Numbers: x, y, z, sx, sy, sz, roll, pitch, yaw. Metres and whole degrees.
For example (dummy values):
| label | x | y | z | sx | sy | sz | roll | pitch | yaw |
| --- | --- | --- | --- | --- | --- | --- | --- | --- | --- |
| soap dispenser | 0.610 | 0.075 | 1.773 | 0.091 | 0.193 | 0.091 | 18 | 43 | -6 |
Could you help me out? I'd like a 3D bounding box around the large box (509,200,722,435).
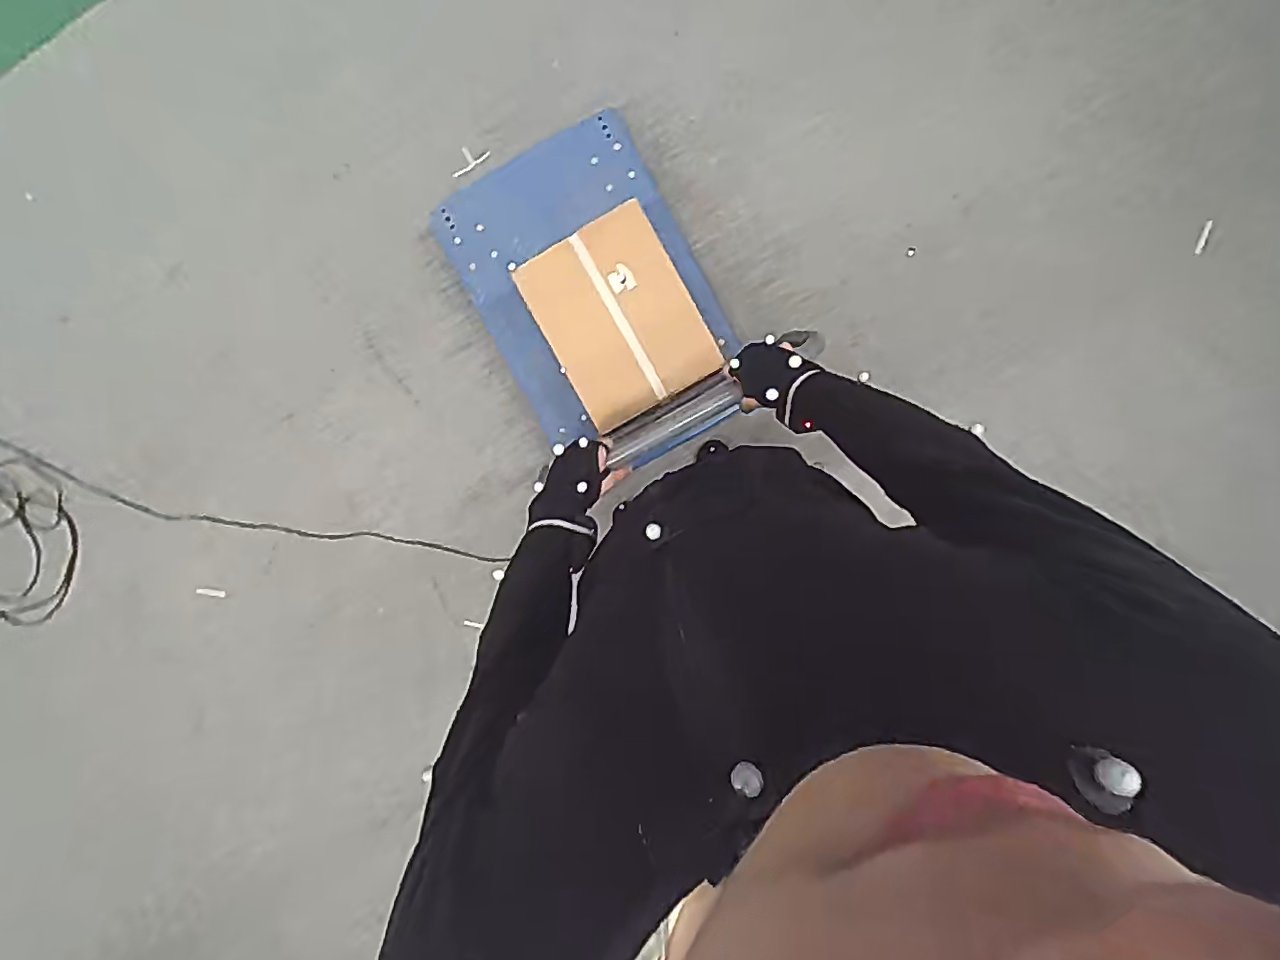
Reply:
| label | x | y | z | sx | sy | sz | roll | pitch | yaw |
| --- | --- | --- | --- | --- | --- | --- | --- | --- | --- |
| large box | -0.045 | -0.355 | 1.302 | 0.320 | 0.320 | 0.408 | -29 | 91 | 3 |
